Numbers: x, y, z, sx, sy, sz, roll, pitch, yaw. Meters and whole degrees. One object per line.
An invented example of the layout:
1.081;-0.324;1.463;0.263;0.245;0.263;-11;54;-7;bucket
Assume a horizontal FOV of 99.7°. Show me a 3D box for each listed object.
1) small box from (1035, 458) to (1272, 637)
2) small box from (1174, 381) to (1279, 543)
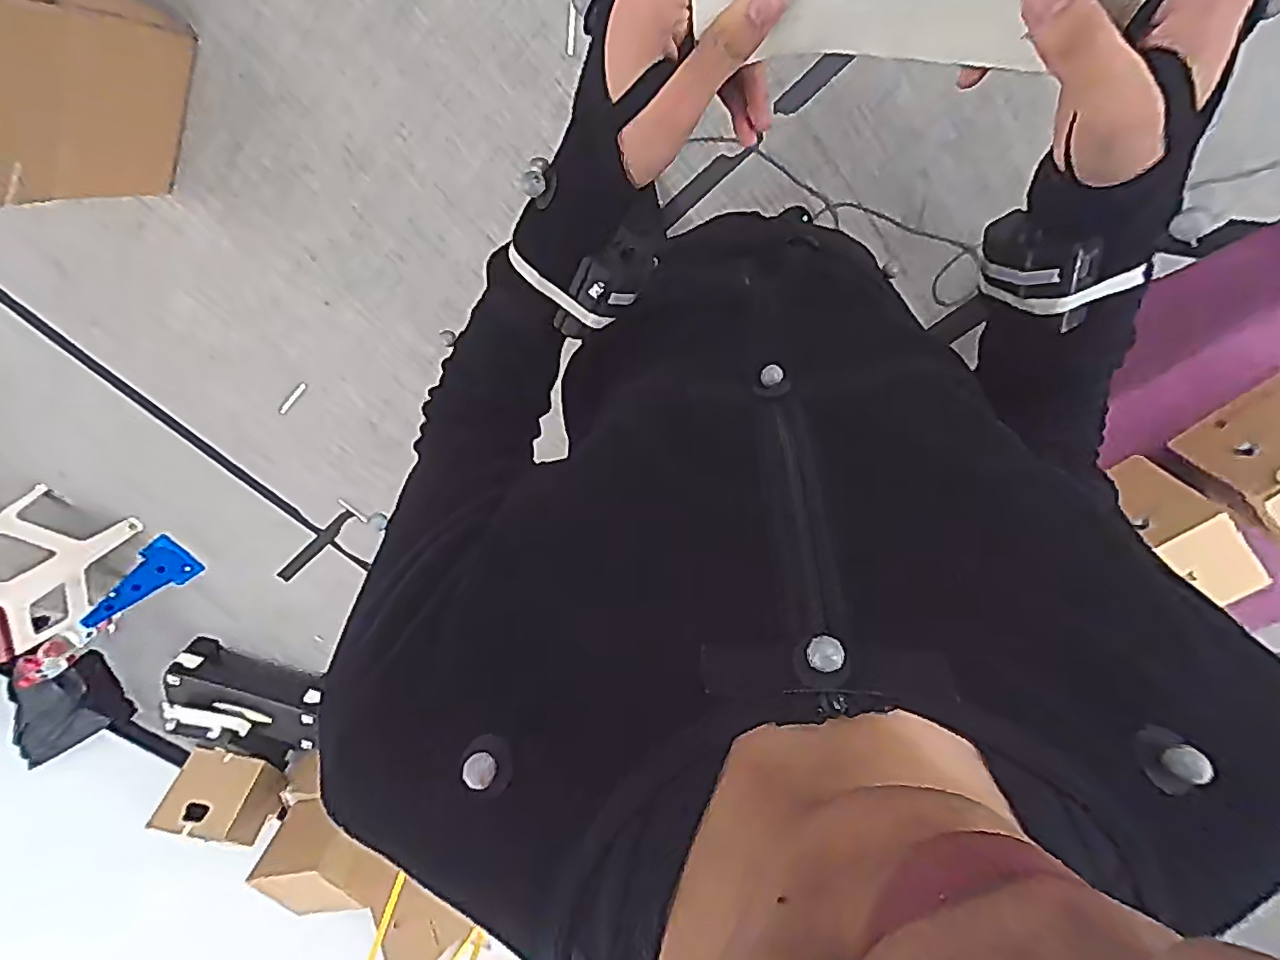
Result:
0.766;0.097;0.827;0.168;0.176;0.179;41;116;-17;small box
0.915;-0.018;0.746;0.179;0.176;0.168;38;118;-16;small box
